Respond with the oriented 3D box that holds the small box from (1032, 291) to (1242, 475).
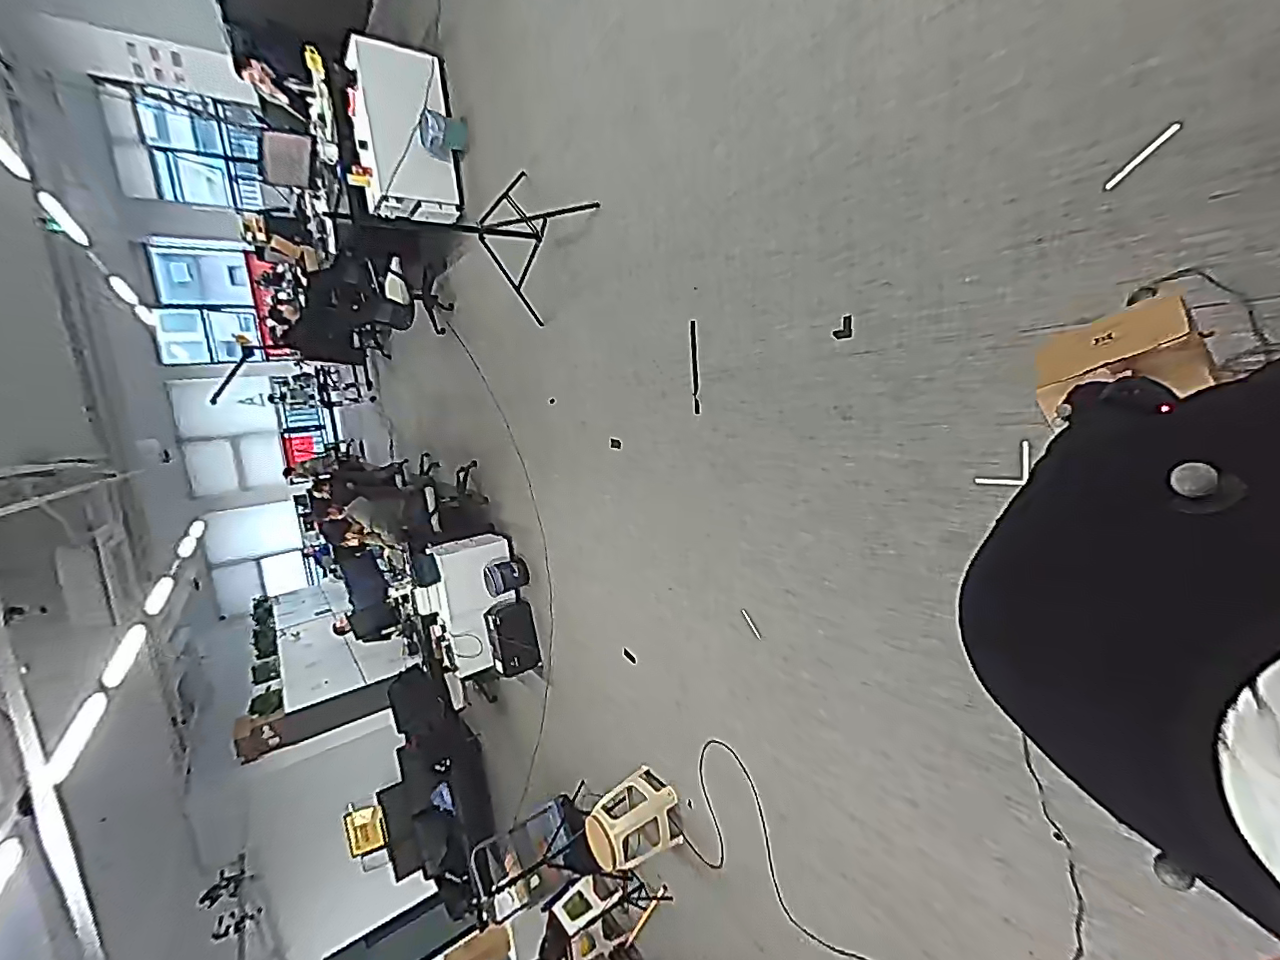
[{"bbox_3d":[0.685,-0.124,0.754,0.176,0.179,0.168,53,140,-10],"label":"small box"}]
